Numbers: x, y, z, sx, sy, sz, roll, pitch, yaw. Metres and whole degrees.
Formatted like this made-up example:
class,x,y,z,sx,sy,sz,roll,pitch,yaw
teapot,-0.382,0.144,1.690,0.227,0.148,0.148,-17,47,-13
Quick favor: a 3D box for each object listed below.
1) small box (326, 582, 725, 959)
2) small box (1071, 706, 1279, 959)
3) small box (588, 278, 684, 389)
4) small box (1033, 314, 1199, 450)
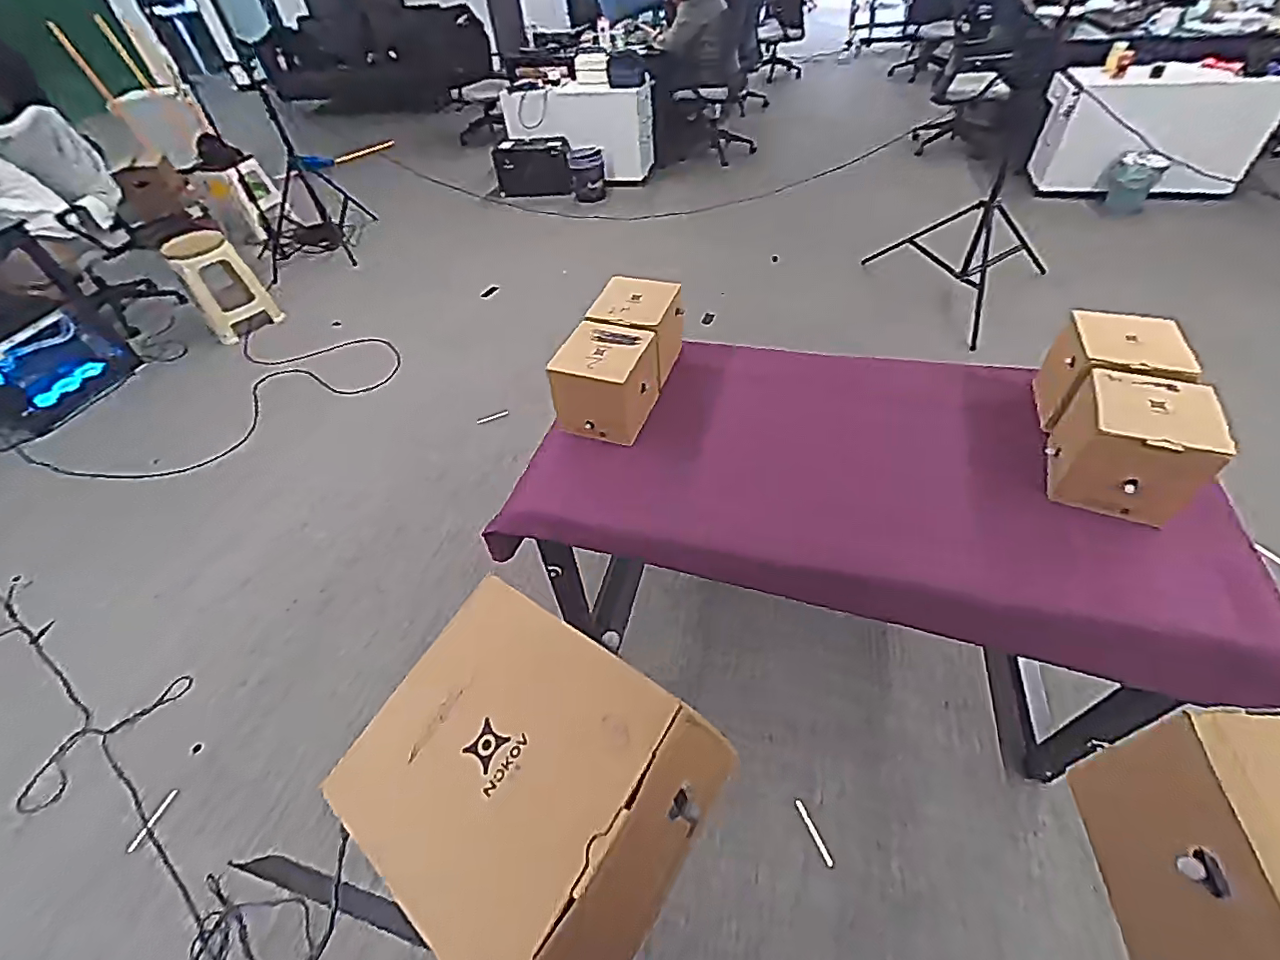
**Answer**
class,x,y,z,sx,sy,sz,roll,pitch,yaw
small box,-0.061,0.206,0.378,0.179,0.176,0.168,21,65,34
small box,0.399,0.248,0.311,0.168,0.176,0.179,-3,52,12
small box,-0.004,-0.335,1.237,0.168,0.176,0.179,13,51,16
small box,0.877,-0.186,1.022,0.168,0.176,0.179,13,49,16
